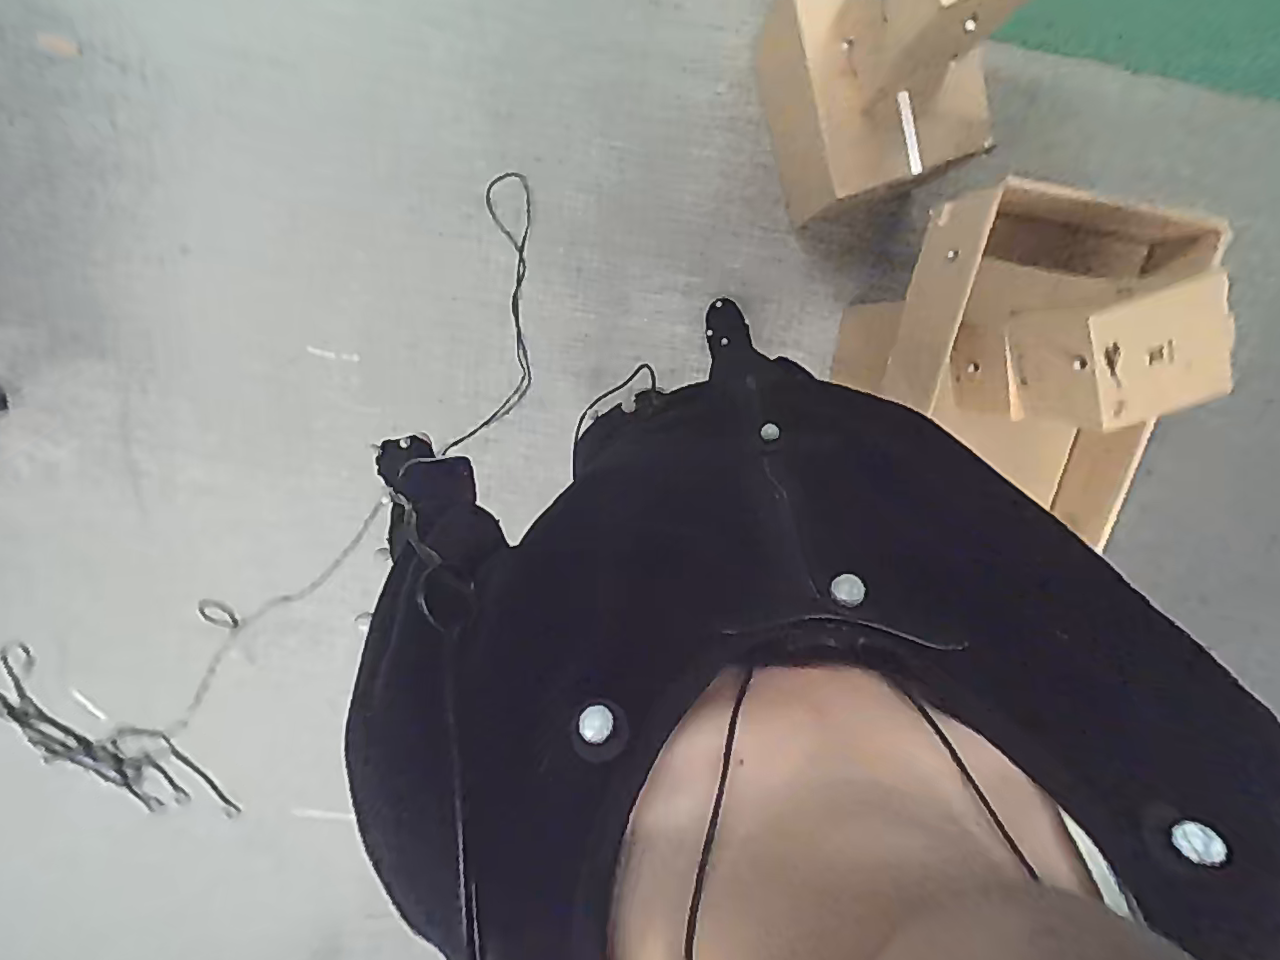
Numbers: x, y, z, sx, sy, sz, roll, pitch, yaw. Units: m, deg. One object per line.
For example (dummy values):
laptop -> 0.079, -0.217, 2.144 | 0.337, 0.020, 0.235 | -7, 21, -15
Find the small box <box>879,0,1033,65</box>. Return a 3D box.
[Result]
small box -> 0.451, -0.725, 0.746 | 0.179, 0.176, 0.168 | -16, 103, 6

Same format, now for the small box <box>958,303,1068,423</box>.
small box -> 0.682, -0.207, 0.943 | 0.179, 0.176, 0.168 | -13, 105, 3

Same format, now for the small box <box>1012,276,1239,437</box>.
small box -> 0.687, -0.180, 0.781 | 0.179, 0.176, 0.168 | -19, 104, 5

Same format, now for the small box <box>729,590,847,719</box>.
small box -> 0.321, 0.382, 1.209 | 0.168, 0.176, 0.179 | -42, 99, 10

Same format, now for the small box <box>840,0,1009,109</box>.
small box -> 0.464, -0.770, 0.903 | 0.179, 0.176, 0.168 | -21, 103, 6
